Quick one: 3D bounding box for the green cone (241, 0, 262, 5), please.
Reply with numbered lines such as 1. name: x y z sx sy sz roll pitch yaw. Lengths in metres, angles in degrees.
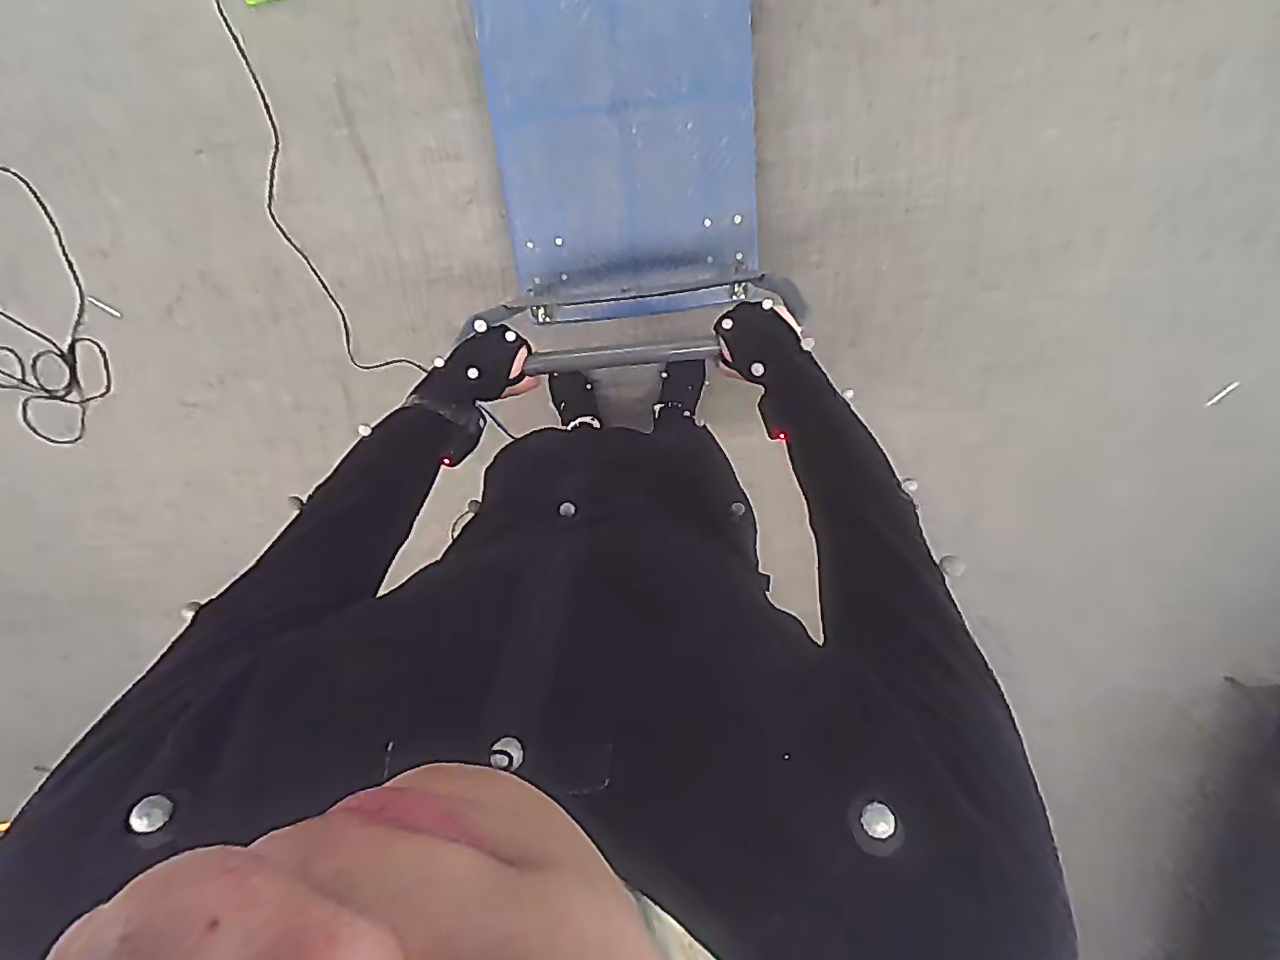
1. green cone: -0.892 -1.183 1.089 0.202 0.368 0.200 -9 109 8
